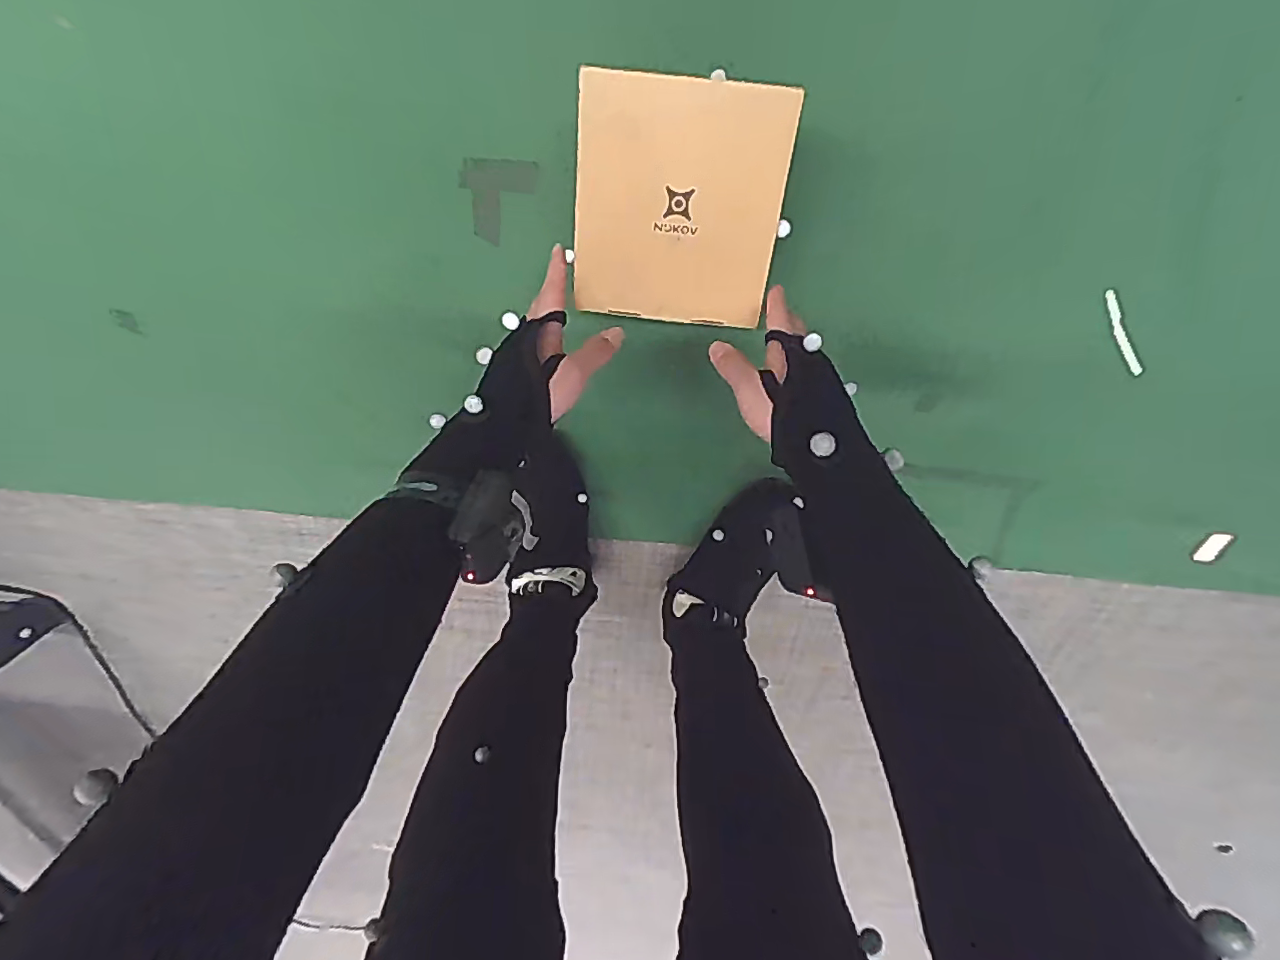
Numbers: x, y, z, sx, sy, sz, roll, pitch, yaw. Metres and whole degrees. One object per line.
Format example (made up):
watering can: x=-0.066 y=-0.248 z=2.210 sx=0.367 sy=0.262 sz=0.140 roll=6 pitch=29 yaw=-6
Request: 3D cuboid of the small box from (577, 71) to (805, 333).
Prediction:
small box: x=0.036 y=-0.252 z=0.501 sx=0.168 sy=0.176 sz=0.179 roll=6 pitch=121 yaw=0
